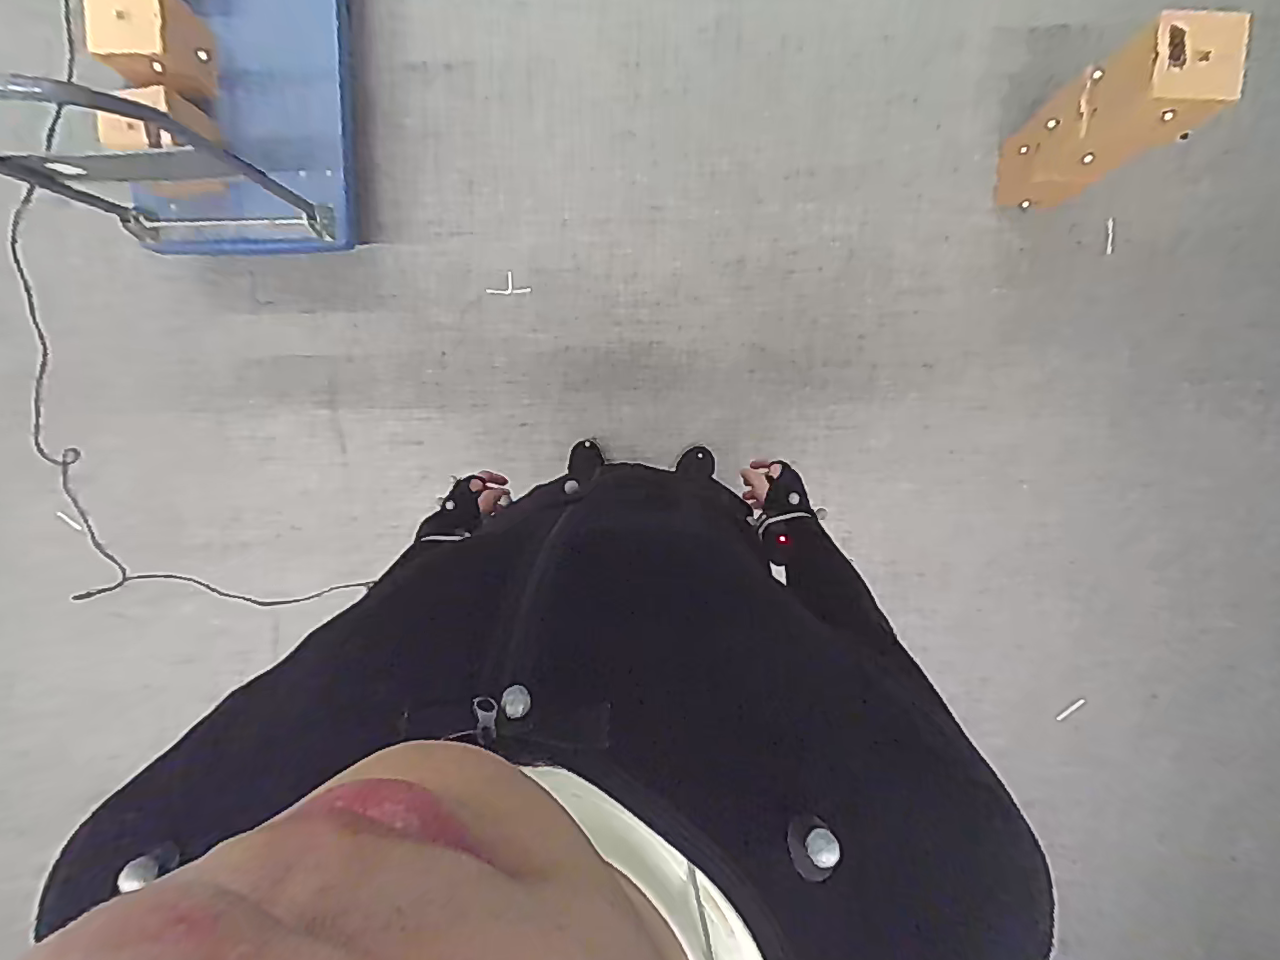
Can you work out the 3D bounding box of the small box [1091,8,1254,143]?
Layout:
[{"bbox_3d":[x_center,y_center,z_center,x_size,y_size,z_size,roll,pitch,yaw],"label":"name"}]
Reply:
[{"bbox_3d":[1.099,-0.834,1.131,0.179,0.176,0.168,3,95,1],"label":"small box"}]

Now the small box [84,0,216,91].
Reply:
[{"bbox_3d":[-1.179,-1.080,1.310,0.179,0.176,0.168,0,95,0],"label":"small box"}]

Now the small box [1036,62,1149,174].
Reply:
[{"bbox_3d":[1.096,-0.857,1.295,0.179,0.176,0.168,4,95,3],"label":"small box"}]

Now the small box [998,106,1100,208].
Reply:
[{"bbox_3d":[1.104,-0.865,1.458,0.168,0.176,0.179,5,95,2],"label":"small box"}]
